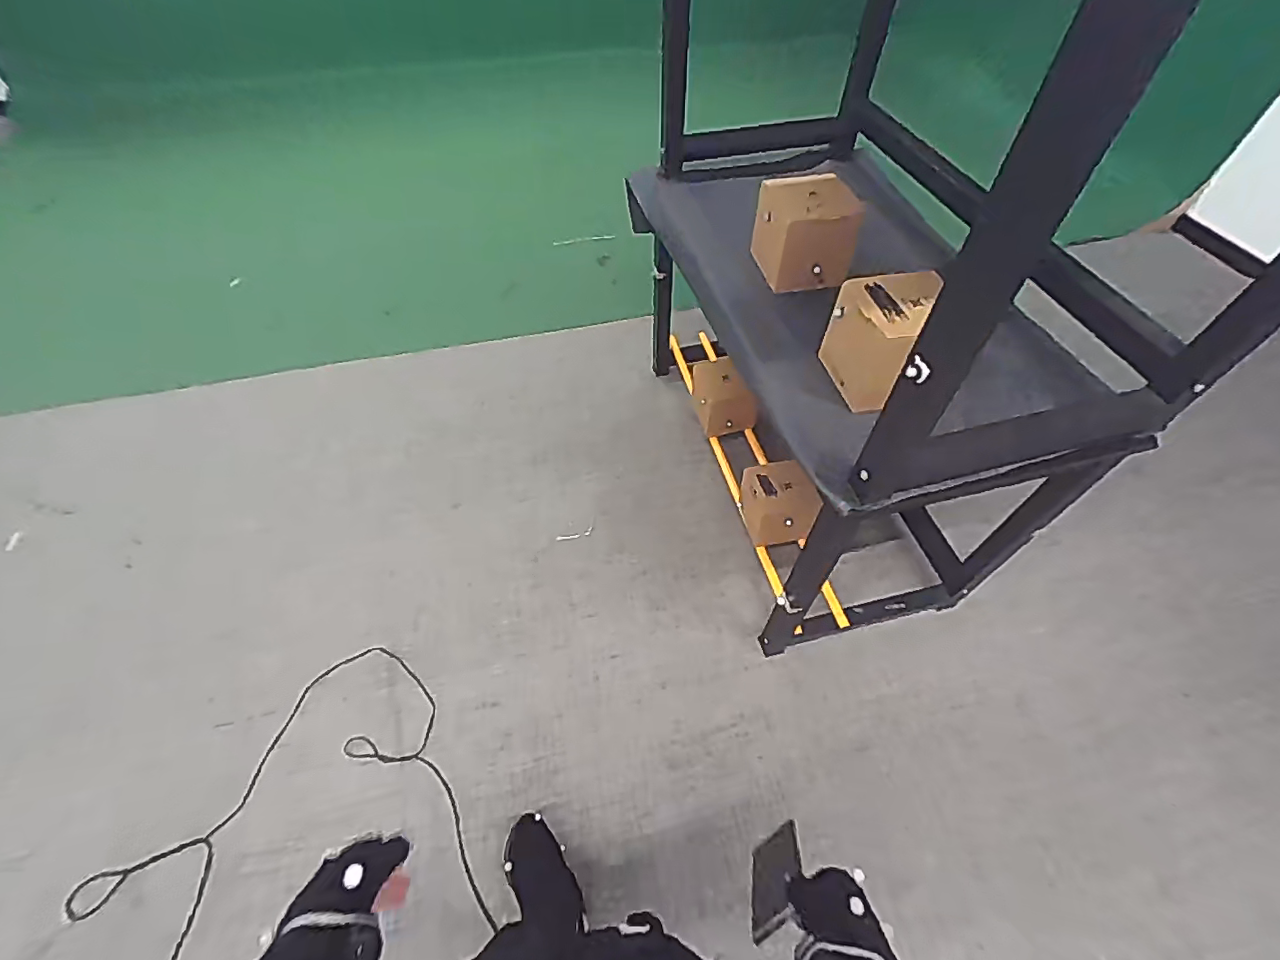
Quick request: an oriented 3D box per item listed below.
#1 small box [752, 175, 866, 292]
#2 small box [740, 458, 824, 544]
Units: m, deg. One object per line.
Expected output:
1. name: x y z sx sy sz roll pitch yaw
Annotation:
1. small box: 0.358 -0.540 1.187 0.168 0.176 0.179 -9 54 -6
2. small box: 0.387 0.063 1.516 0.179 0.176 0.168 -9 54 -6
